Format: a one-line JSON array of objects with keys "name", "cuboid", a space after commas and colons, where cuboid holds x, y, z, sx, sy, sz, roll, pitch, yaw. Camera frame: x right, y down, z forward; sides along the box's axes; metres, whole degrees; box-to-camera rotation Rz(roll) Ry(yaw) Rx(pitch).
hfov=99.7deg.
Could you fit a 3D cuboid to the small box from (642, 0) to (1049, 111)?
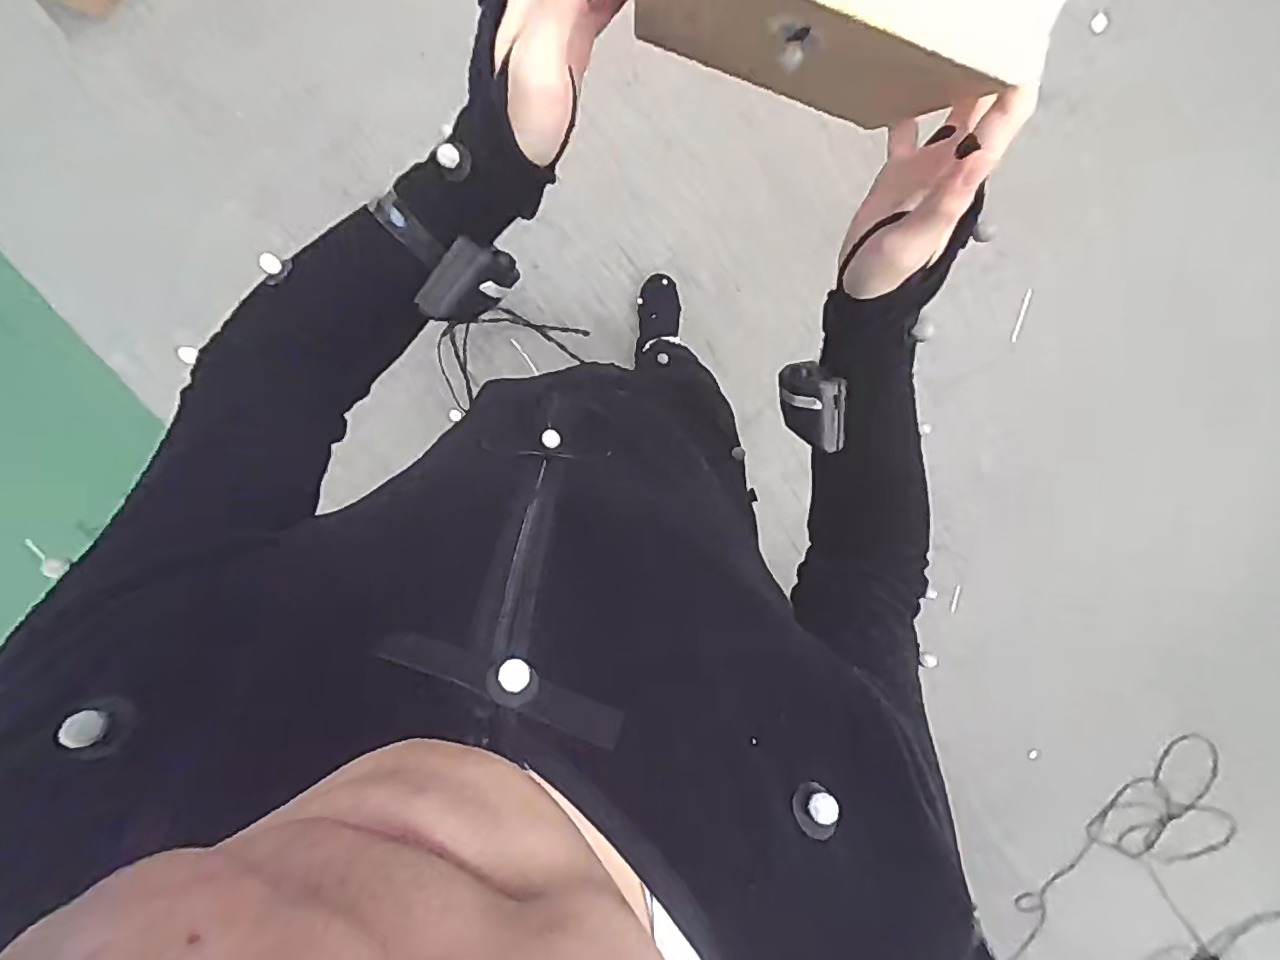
[{"name": "small box", "cuboid": [0.102, -0.303, 0.257, 0.179, 0.176, 0.168, 15, 116, -7]}]
